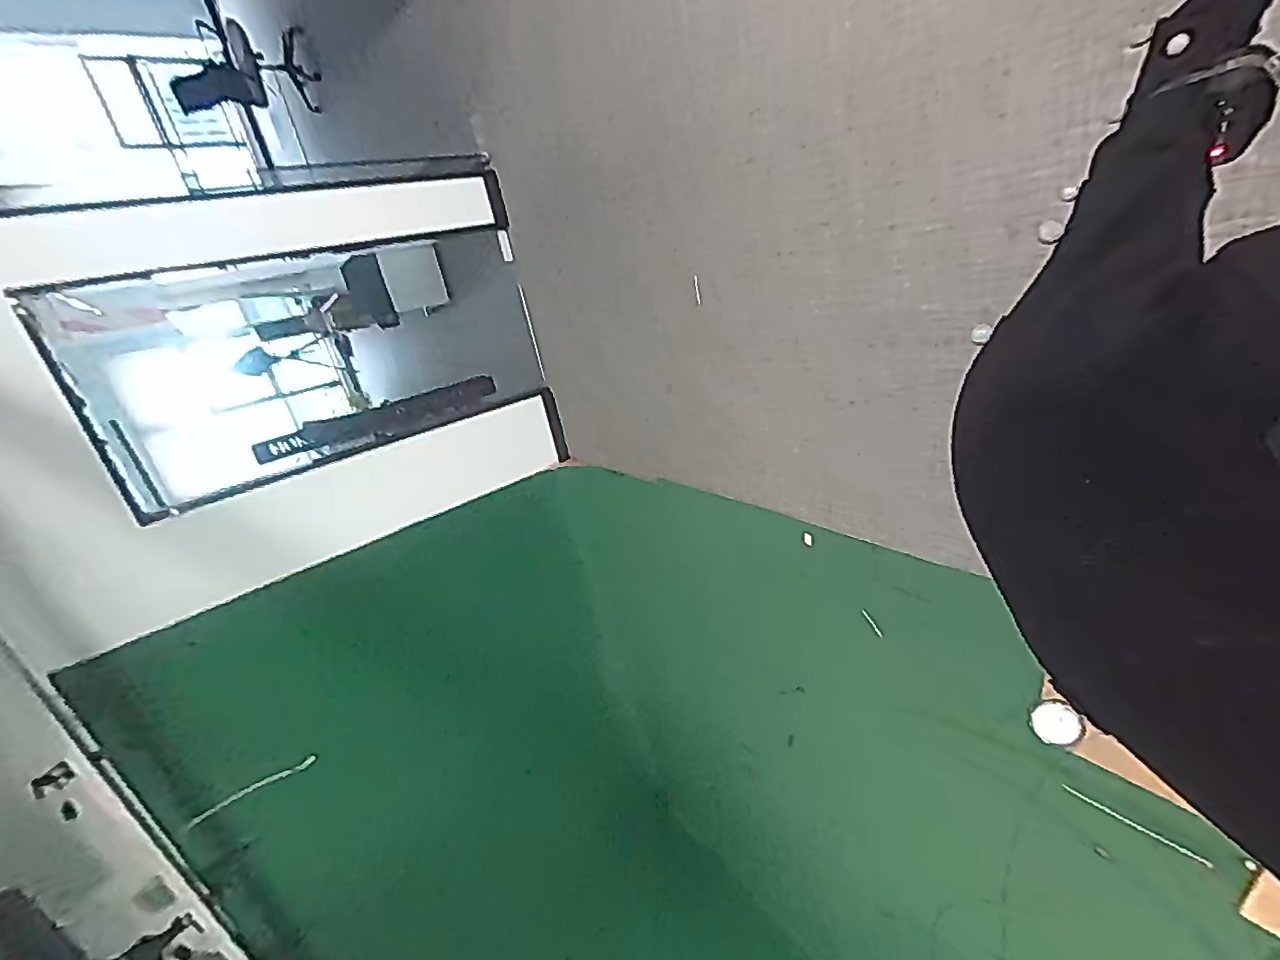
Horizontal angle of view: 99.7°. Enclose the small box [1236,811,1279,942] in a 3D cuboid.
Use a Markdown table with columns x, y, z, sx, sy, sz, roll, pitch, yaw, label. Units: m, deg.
| x | y | z | sx | sy | sz | roll | pitch | yaw | label |
| --- | --- | --- | --- | --- | --- | --- | --- | --- | --- |
| 1.260 | 0.763 | 0.994 | 0.168 | 0.176 | 0.179 | 23 | 129 | 48 | small box |
